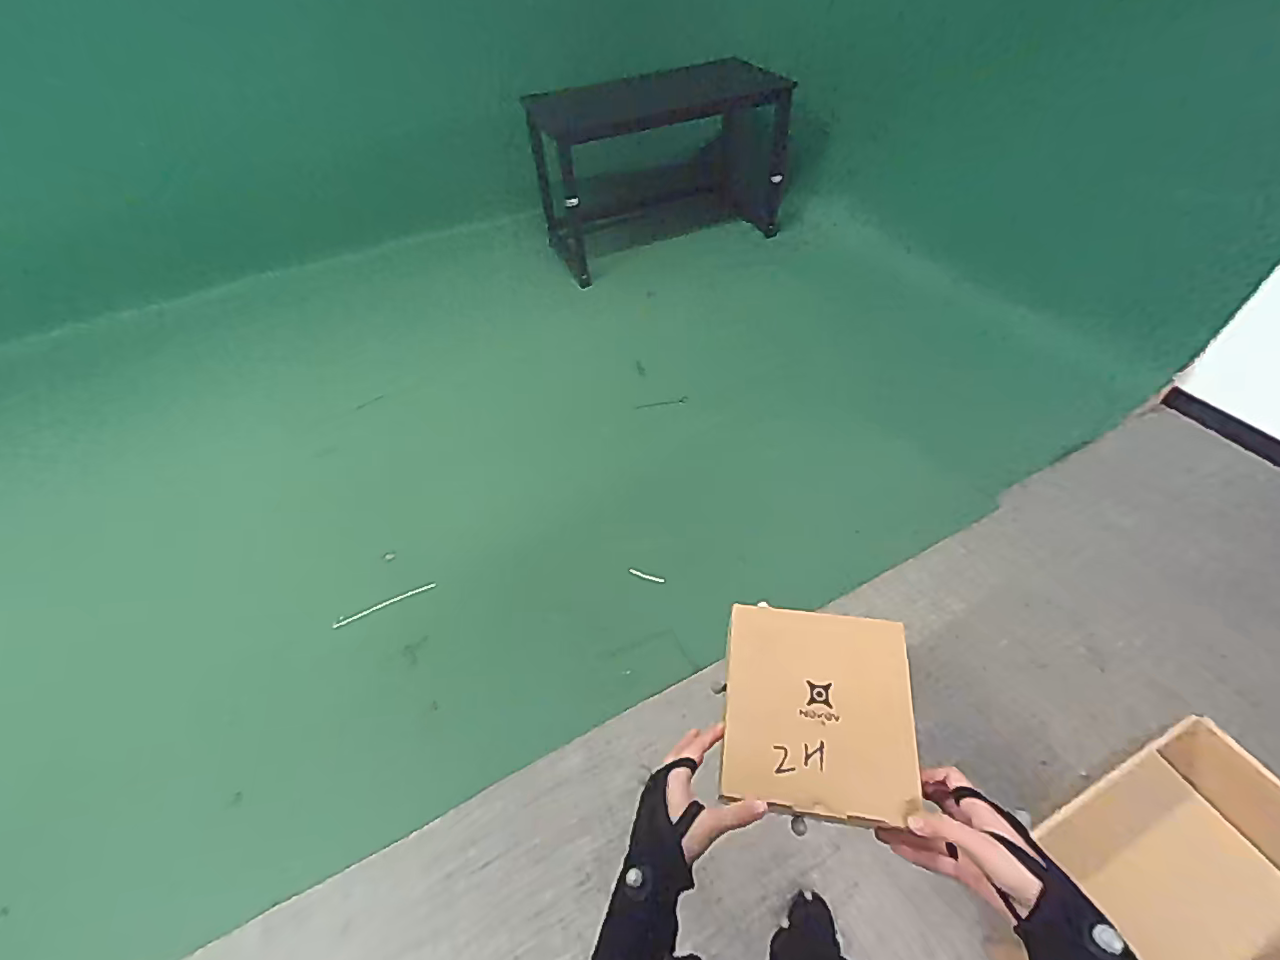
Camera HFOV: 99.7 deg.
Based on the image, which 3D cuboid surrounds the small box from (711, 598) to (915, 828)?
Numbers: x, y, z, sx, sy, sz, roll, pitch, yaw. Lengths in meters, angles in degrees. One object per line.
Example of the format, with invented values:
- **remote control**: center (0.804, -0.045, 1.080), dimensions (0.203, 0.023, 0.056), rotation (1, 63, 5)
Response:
- **small box**: center (0.164, 0.243, 0.561), dimensions (0.168, 0.176, 0.179), rotation (5, 57, 10)
